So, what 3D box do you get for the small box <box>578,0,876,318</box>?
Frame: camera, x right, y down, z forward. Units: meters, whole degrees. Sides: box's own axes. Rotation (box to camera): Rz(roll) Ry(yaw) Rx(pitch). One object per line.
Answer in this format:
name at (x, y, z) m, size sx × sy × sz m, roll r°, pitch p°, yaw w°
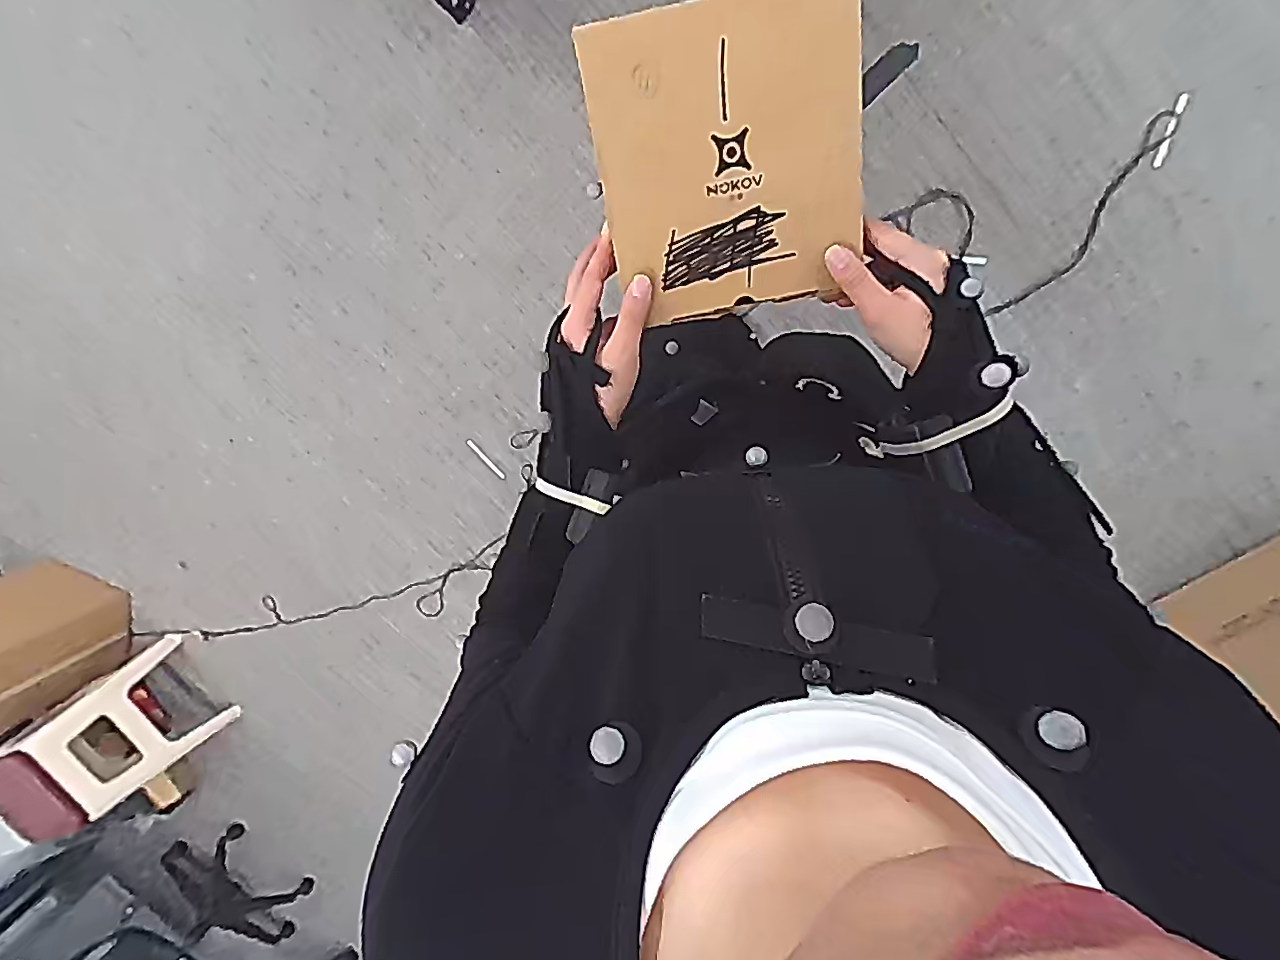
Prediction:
small box at (0.056, -0.232, 0.399) m, size 0.168 × 0.176 × 0.179 m, roll -9°, pitch 115°, yaw 2°
